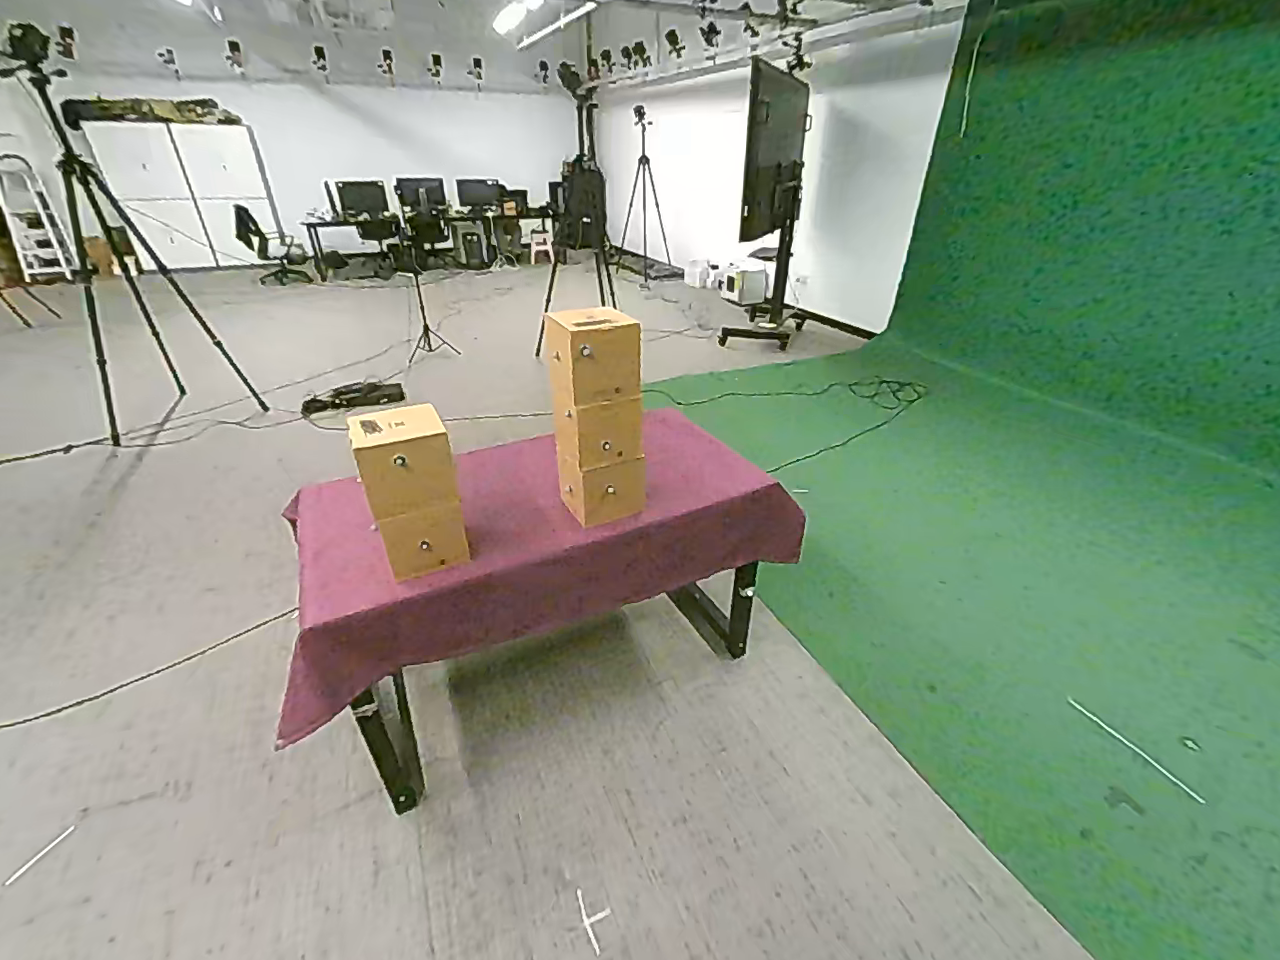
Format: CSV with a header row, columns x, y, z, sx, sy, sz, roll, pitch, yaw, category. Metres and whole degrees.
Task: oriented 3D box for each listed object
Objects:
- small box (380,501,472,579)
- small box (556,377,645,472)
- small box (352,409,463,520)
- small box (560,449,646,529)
x,y,z,sx,sy,sz,roll,pitch,yaw,category
-0.493,0.107,1.240,0.168,0.176,0.179,-15,33,-24,small box
-0.100,-0.139,1.332,0.168,0.176,0.179,-15,34,-23,small box
-0.495,-0.034,1.155,0.179,0.176,0.168,-15,34,-24,small box
-0.093,0.004,1.410,0.179,0.176,0.168,-16,34,-24,small box
